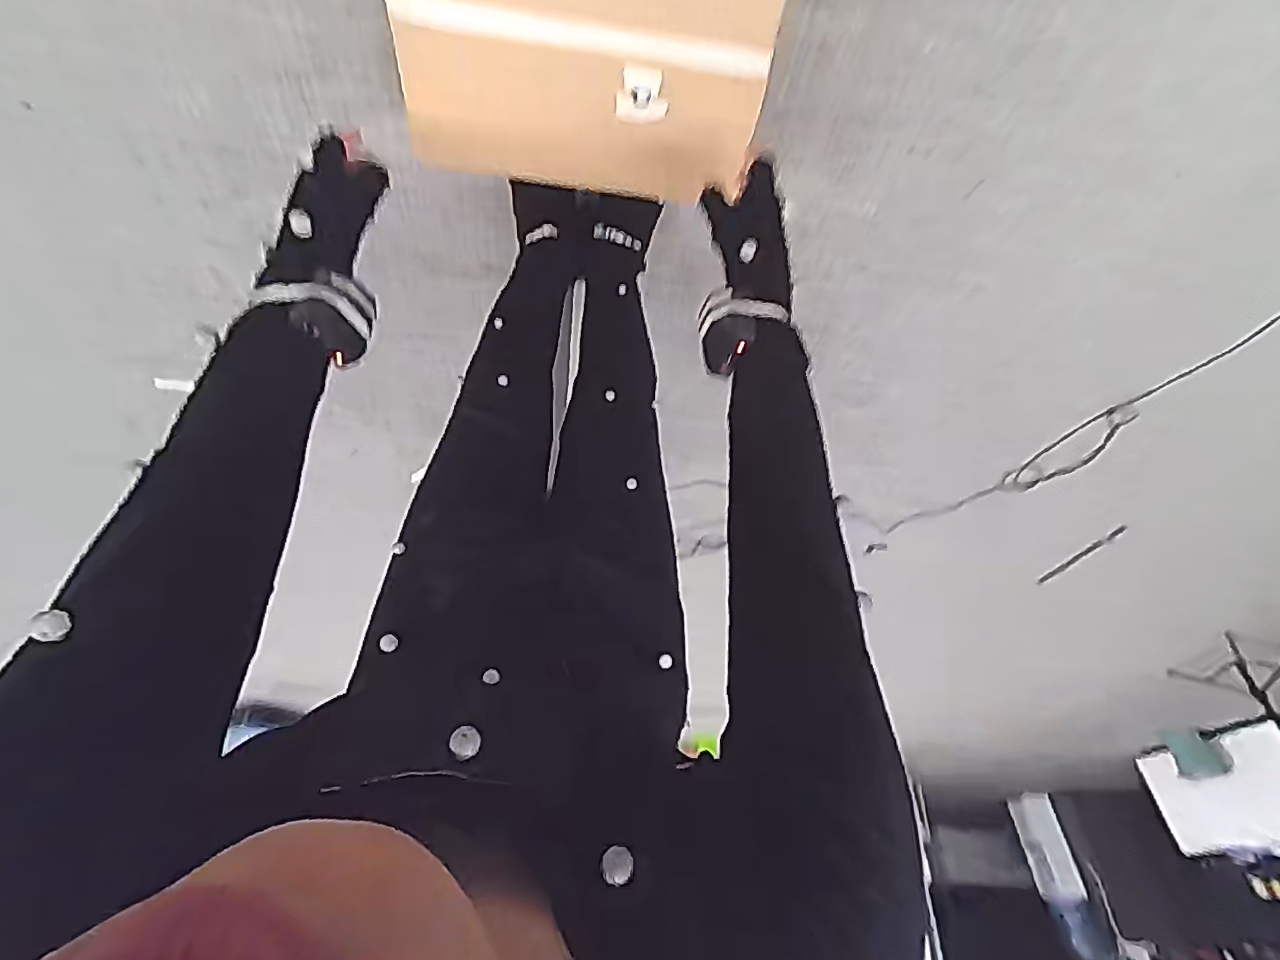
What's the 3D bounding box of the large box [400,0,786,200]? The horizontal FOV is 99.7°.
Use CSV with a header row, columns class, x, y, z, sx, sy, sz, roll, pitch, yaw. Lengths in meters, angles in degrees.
class,x,y,z,sx,sy,sz,roll,pitch,yaw
large box,-0.054,-0.591,0.672,0.408,0.320,0.320,4,141,-6
